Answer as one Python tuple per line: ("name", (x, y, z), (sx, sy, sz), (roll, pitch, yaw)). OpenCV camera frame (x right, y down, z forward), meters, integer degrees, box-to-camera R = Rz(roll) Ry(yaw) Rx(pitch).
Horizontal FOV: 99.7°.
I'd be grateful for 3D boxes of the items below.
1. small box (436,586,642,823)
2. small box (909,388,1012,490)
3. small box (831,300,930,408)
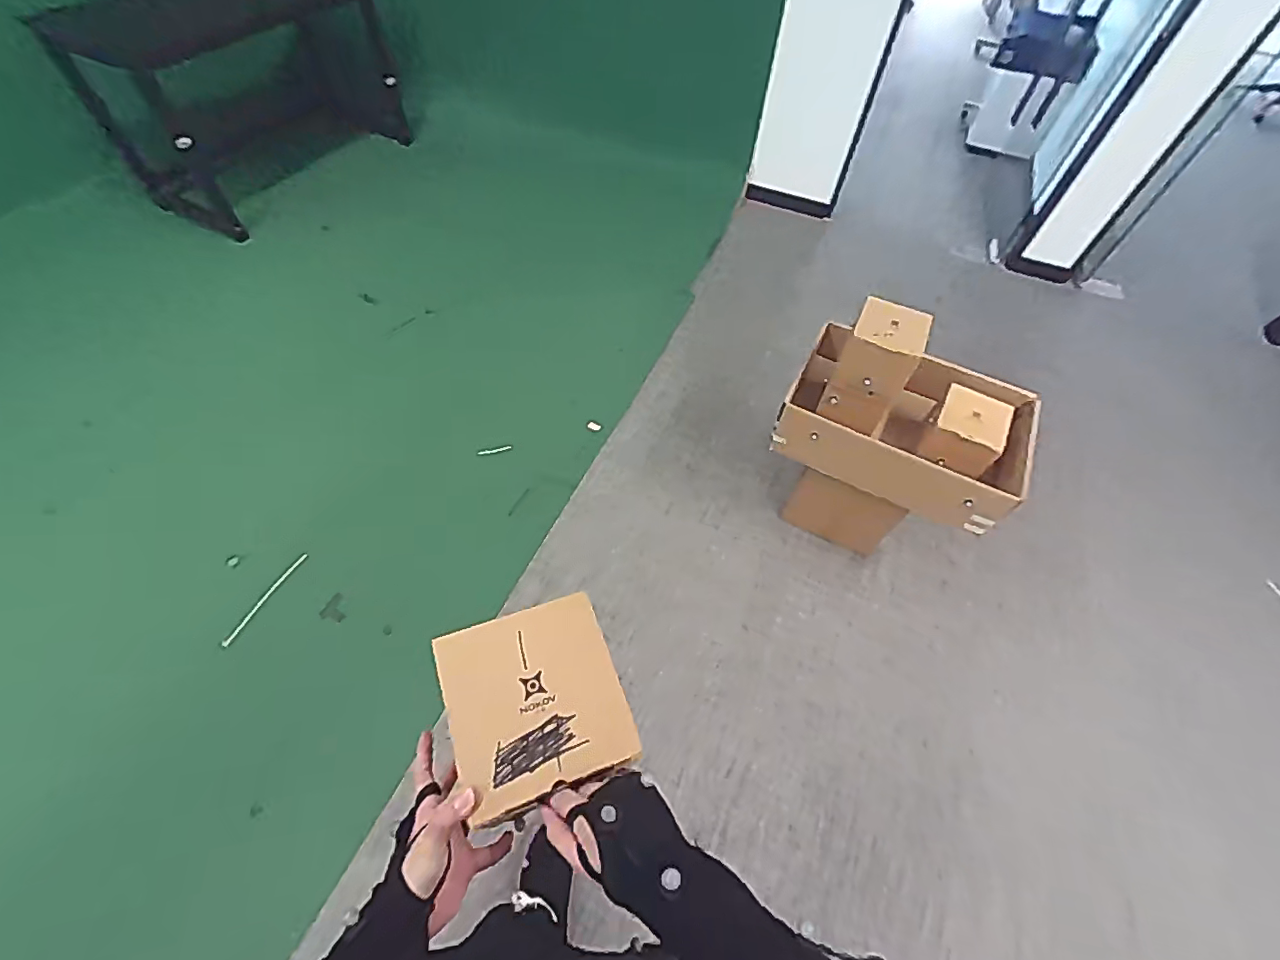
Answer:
("small box", (-0.108, 0.246, 0.591), (0.168, 0.176, 0.179), (-15, 59, -17))
("small box", (0.856, -0.109, 1.456), (0.168, 0.176, 0.179), (27, 59, 14))
("small box", (0.609, -0.320, 1.381), (0.168, 0.176, 0.179), (23, 58, 12))
